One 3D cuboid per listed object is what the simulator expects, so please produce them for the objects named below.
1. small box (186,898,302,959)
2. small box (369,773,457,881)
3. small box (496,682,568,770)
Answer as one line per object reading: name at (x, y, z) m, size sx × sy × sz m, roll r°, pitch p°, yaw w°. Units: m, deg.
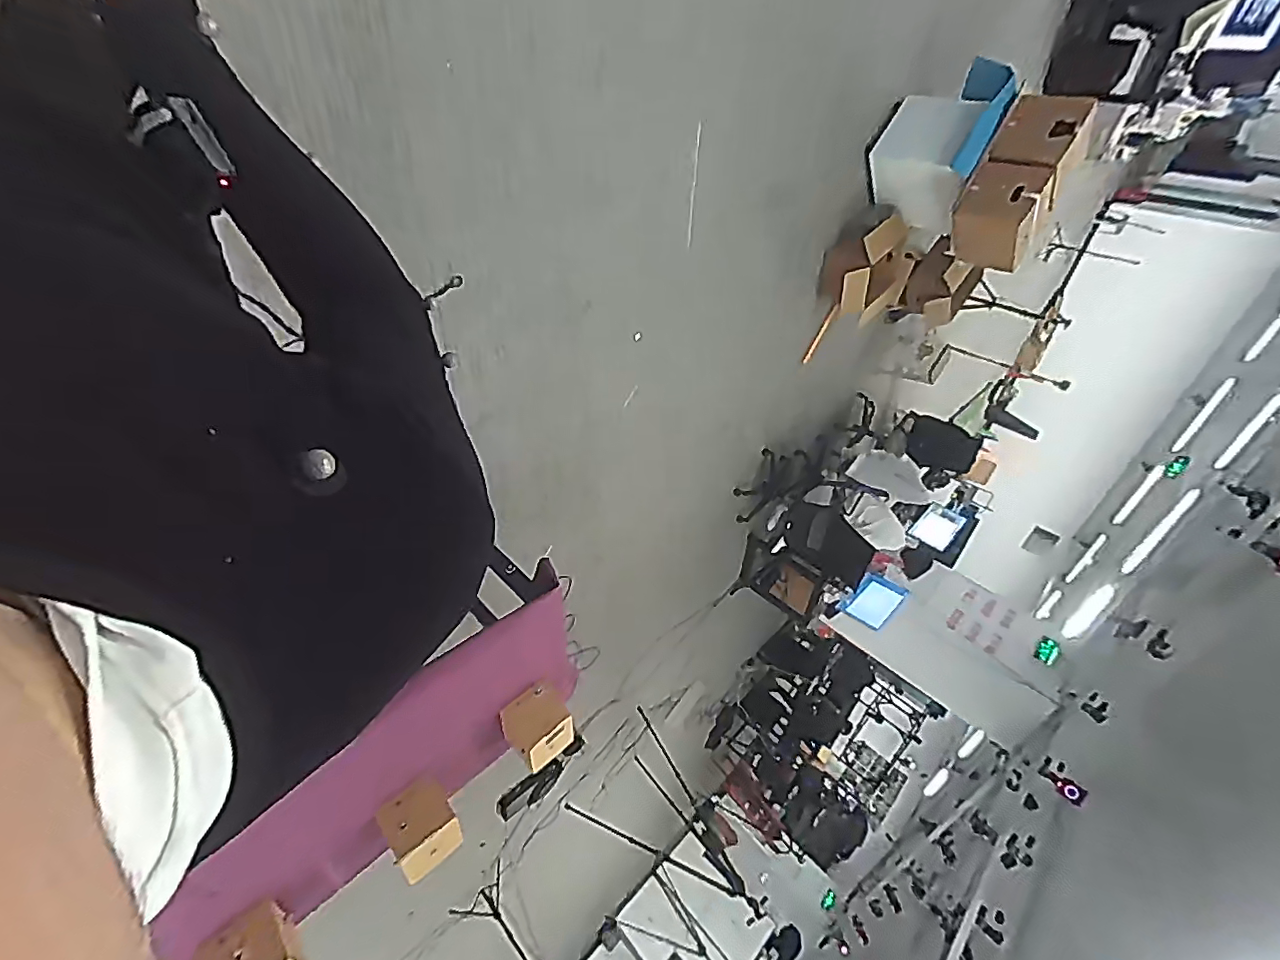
small box at (-0.948, 1.162, 1.301) m, size 0.168 × 0.176 × 0.179 m, roll -30°, pitch 137°, yaw -36°
small box at (-0.648, 0.981, 1.544) m, size 0.168 × 0.176 × 0.179 m, roll -27°, pitch 138°, yaw -37°
small box at (-0.352, 0.792, 1.762) m, size 0.168 × 0.176 × 0.179 m, roll -30°, pitch 140°, yaw -34°
